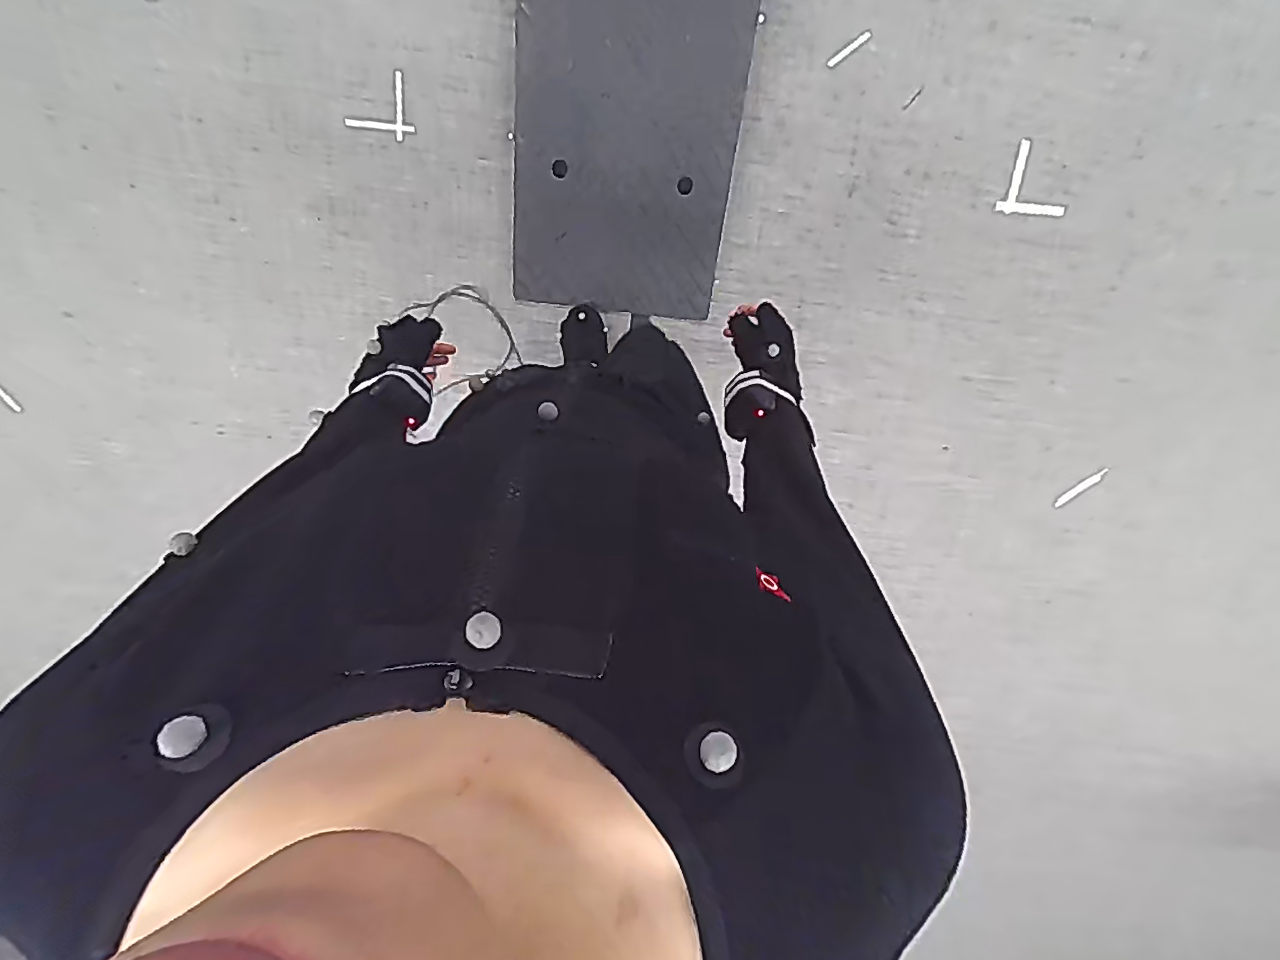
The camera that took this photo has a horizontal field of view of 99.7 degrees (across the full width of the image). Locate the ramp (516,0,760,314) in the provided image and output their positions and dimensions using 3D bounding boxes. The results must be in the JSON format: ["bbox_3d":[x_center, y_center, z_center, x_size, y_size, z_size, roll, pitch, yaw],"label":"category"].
[{"bbox_3d":[-0.011,-0.879,1.130,0.509,0.206,0.991,3,108,-4],"label":"ramp"}]
